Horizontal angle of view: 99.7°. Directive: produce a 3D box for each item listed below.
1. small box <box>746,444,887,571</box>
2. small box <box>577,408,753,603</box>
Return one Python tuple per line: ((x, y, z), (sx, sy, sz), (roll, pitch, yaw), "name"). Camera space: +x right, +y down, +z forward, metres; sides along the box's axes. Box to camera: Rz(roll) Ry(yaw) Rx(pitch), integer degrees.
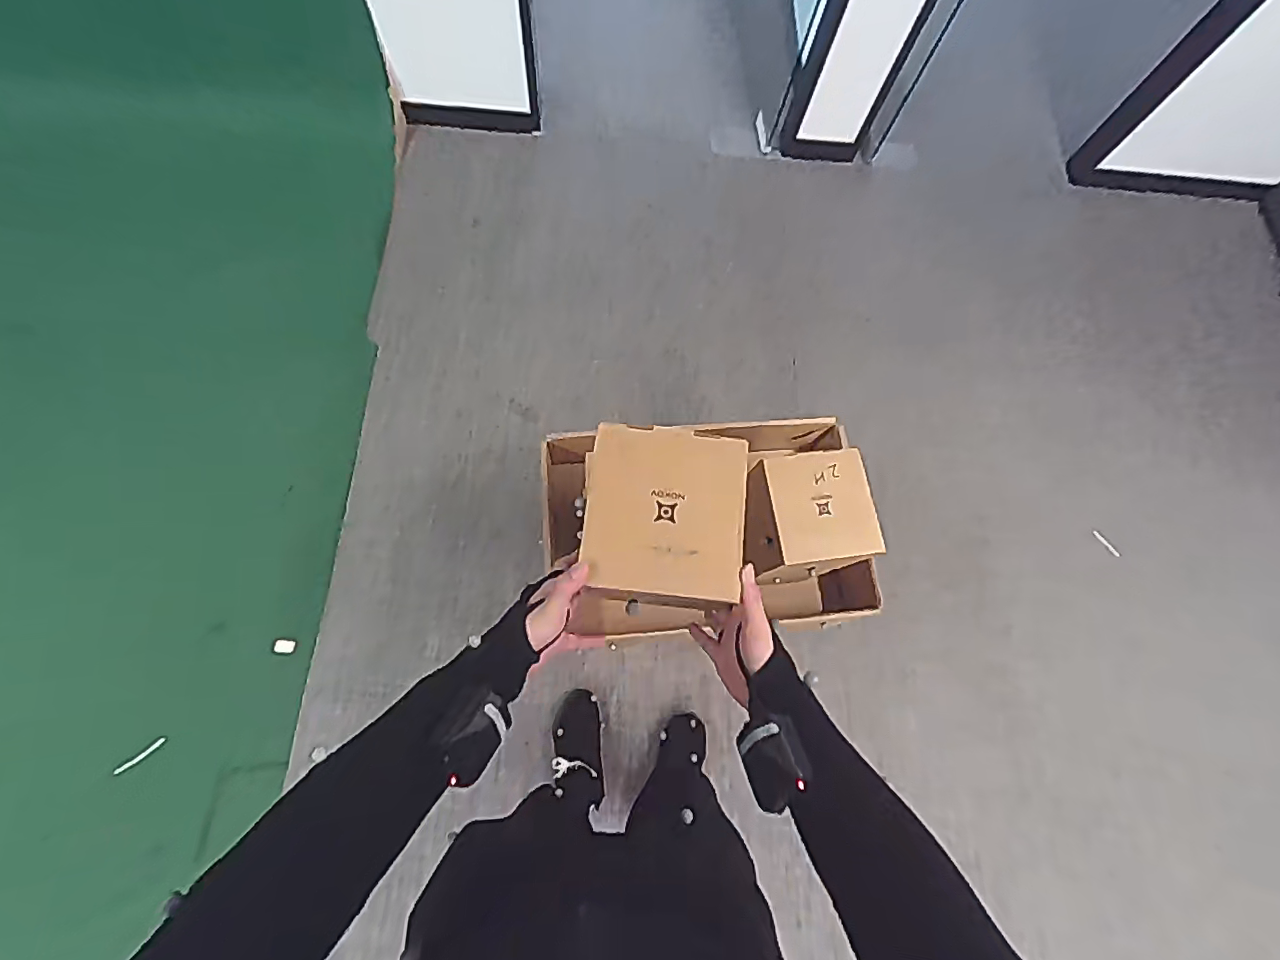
((0.278, 0.054, 0.907), (0.168, 0.176, 0.179), (-5, 73, -8), "small box")
((0.023, 0.039, 0.623), (0.168, 0.176, 0.179), (8, 74, -1), "small box")
